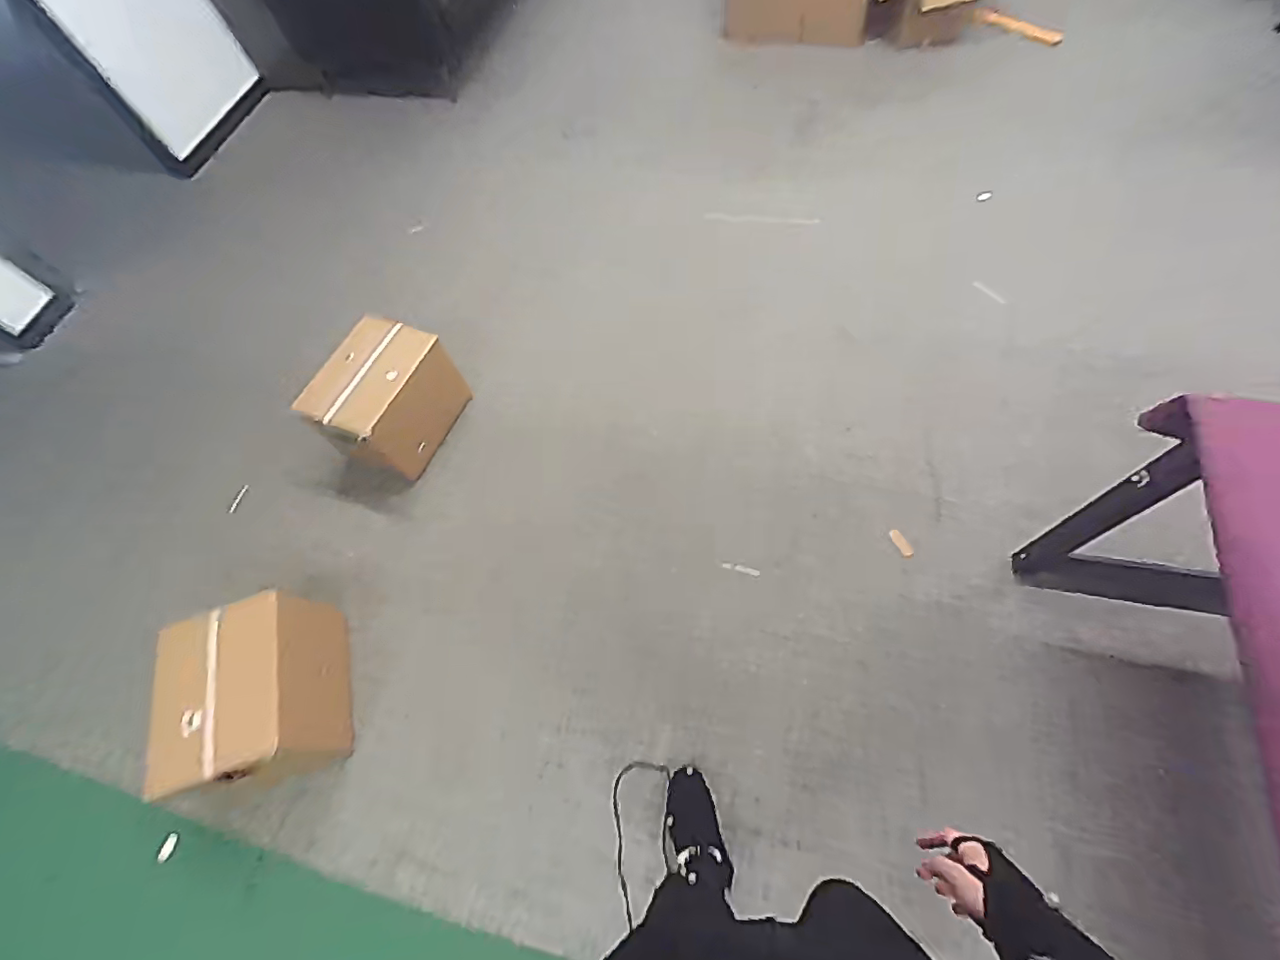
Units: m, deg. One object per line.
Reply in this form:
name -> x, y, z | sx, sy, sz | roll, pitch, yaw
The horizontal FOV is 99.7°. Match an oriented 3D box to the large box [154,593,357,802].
large box -> -1.000, 0.571, 1.439 | 0.320, 0.320, 0.408 | -21, 64, -3
